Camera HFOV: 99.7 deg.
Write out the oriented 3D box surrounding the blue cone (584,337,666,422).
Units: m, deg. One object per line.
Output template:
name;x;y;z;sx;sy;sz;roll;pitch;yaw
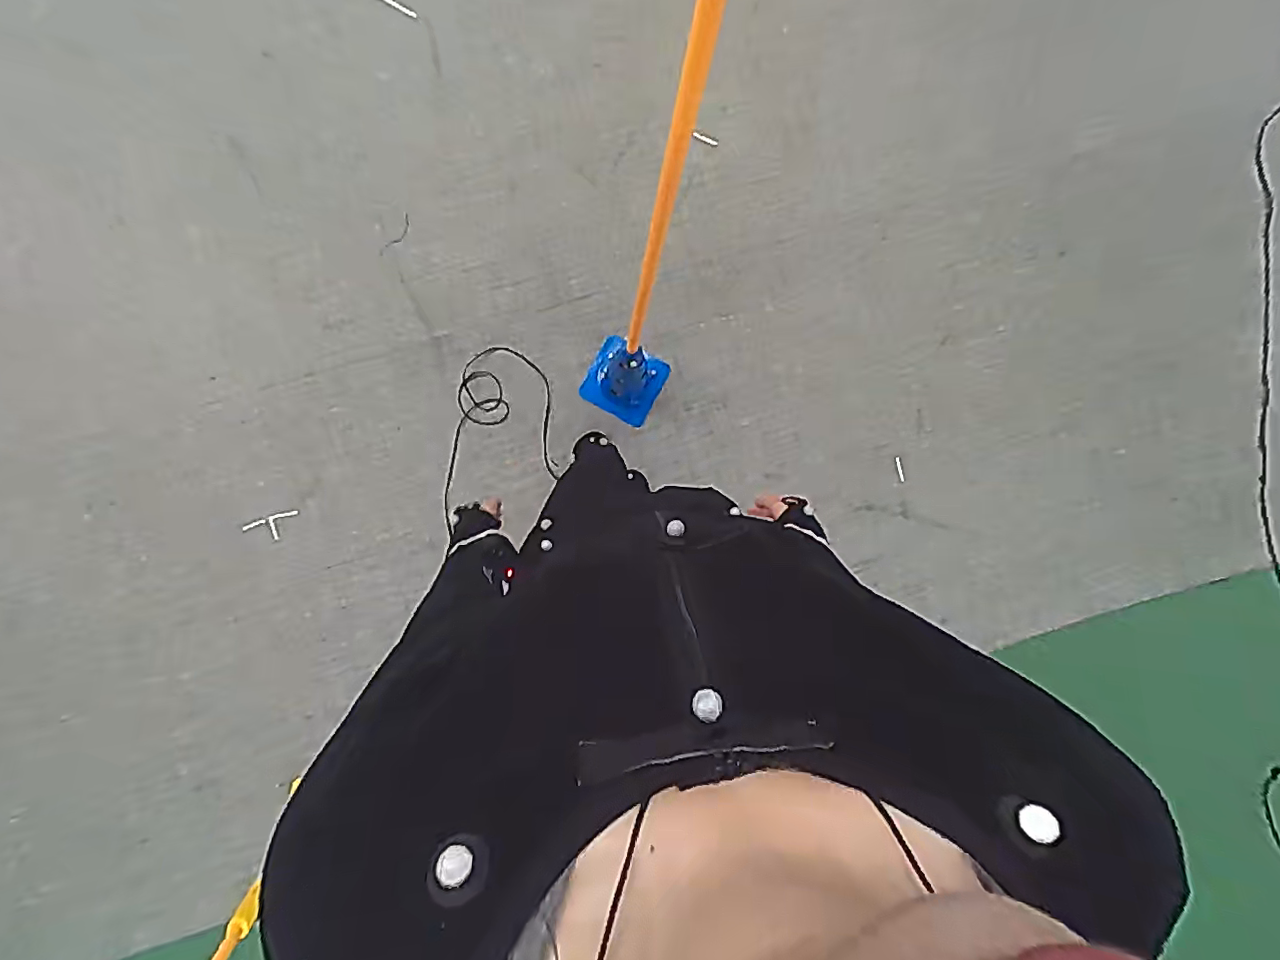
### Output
blue cone;-0.029;-0.279;1.307;0.192;0.380;0.193;27;87;-4
